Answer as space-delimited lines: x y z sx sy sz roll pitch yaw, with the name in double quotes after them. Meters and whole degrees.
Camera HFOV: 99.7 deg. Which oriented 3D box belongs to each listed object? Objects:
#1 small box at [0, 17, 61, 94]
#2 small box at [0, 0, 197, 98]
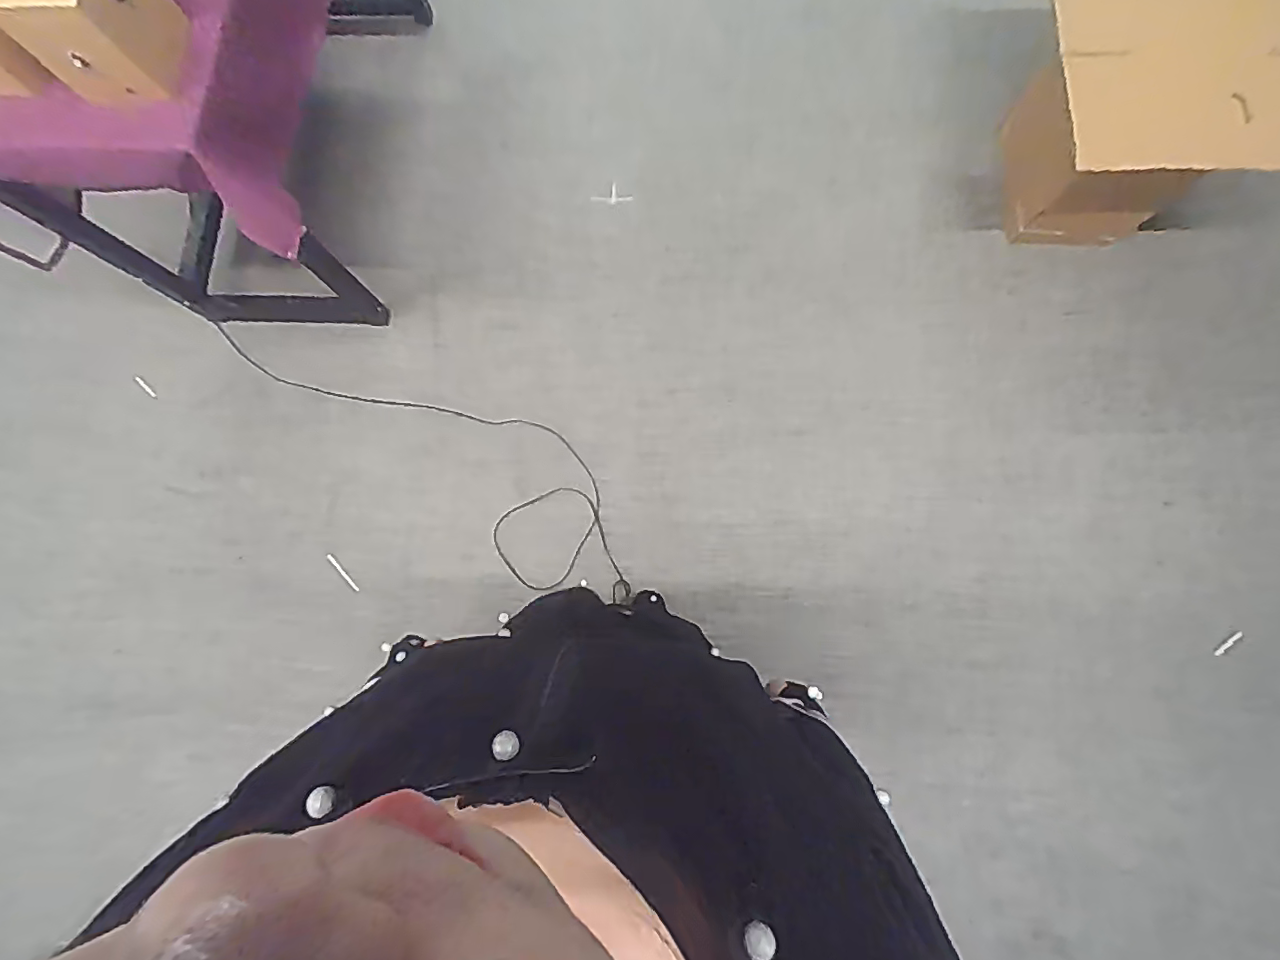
-1.166 -0.809 0.935 0.179 0.176 0.168 4 79 4 "small box"
-0.909 -0.789 0.919 0.168 0.176 0.179 3 79 3 "small box"
